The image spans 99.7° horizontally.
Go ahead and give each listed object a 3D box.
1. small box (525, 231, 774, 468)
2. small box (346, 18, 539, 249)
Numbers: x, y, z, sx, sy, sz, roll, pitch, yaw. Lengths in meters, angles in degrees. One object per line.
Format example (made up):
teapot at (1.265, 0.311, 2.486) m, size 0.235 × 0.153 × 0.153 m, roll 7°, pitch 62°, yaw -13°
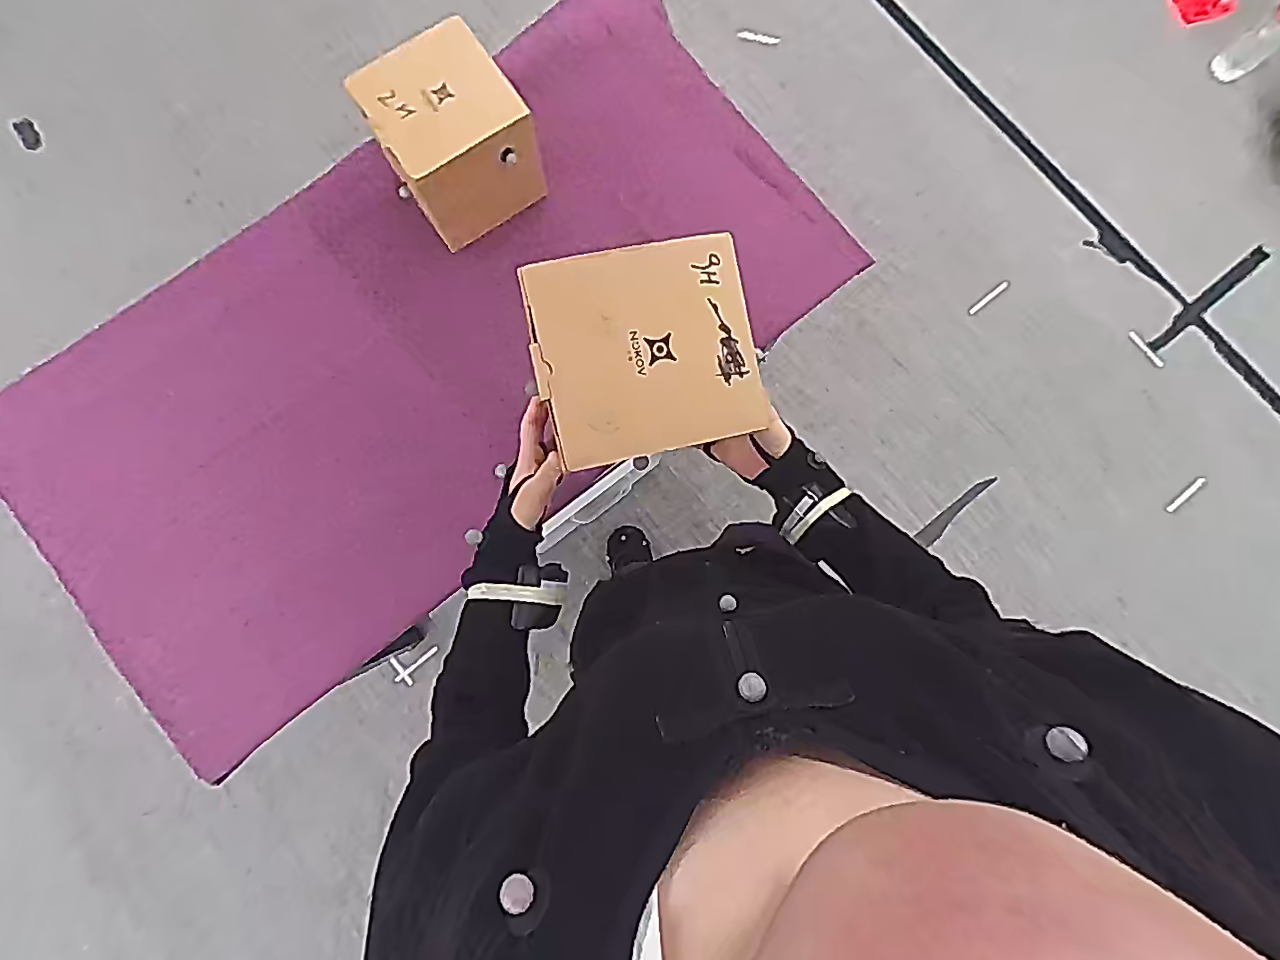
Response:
small box at (0.002, -0.106, 0.508) m, size 0.179 × 0.176 × 0.168 m, roll -12°, pitch 94°, yaw -7°
small box at (-0.256, -0.467, 0.754) m, size 0.179 × 0.176 × 0.168 m, roll -35°, pitch 86°, yaw -5°
